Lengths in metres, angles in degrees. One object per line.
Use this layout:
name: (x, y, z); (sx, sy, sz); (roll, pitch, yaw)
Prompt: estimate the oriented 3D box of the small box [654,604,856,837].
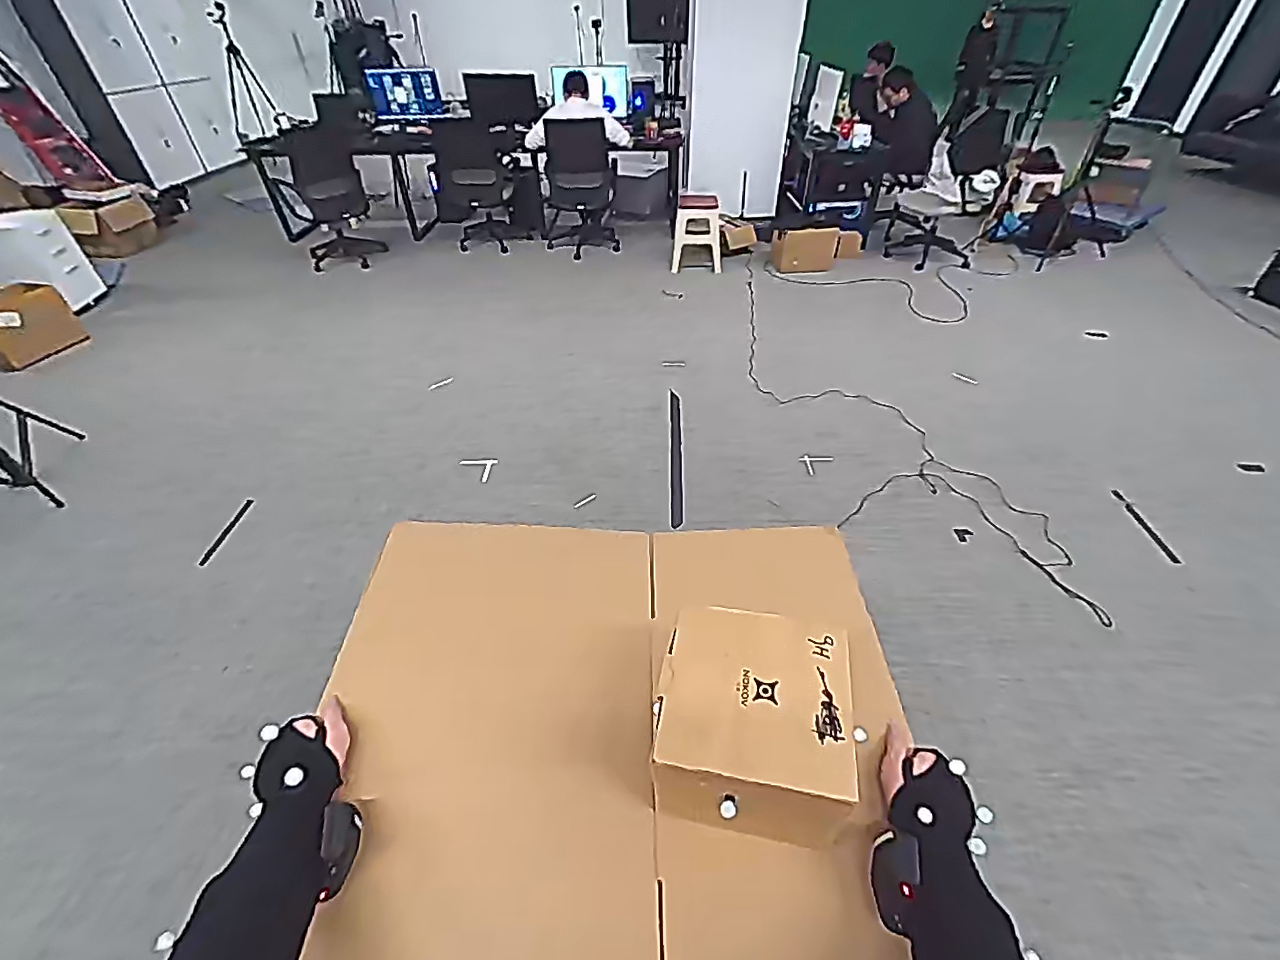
small box: (0.120, 0.255, 0.576); (0.179, 0.176, 0.168); (5, 46, 12)
